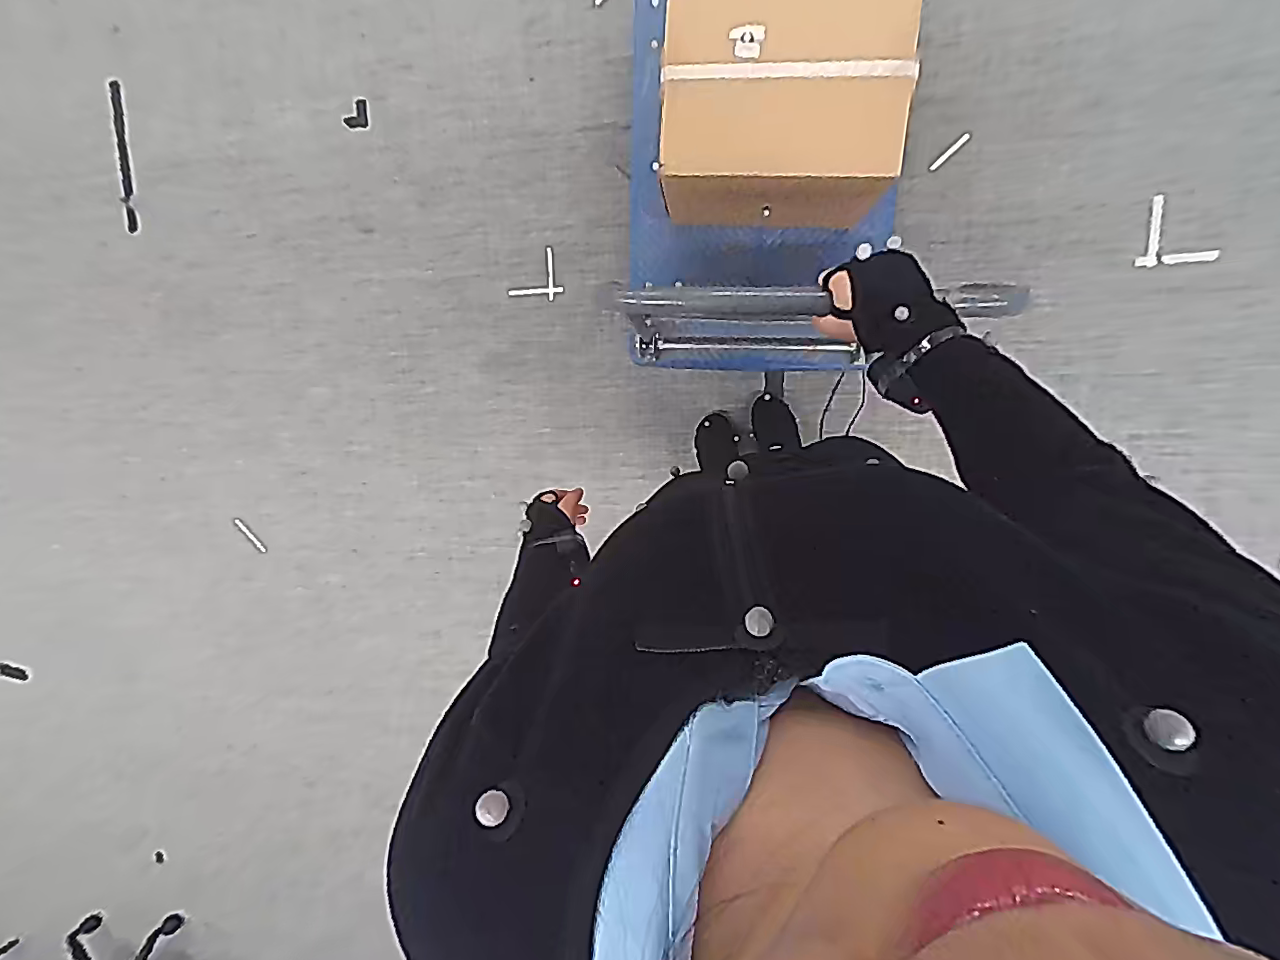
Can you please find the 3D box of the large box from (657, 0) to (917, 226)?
[{"bbox_3d":[0.253,-0.685,1.025,0.408,0.320,0.320,4,100,8],"label":"large box"}]
